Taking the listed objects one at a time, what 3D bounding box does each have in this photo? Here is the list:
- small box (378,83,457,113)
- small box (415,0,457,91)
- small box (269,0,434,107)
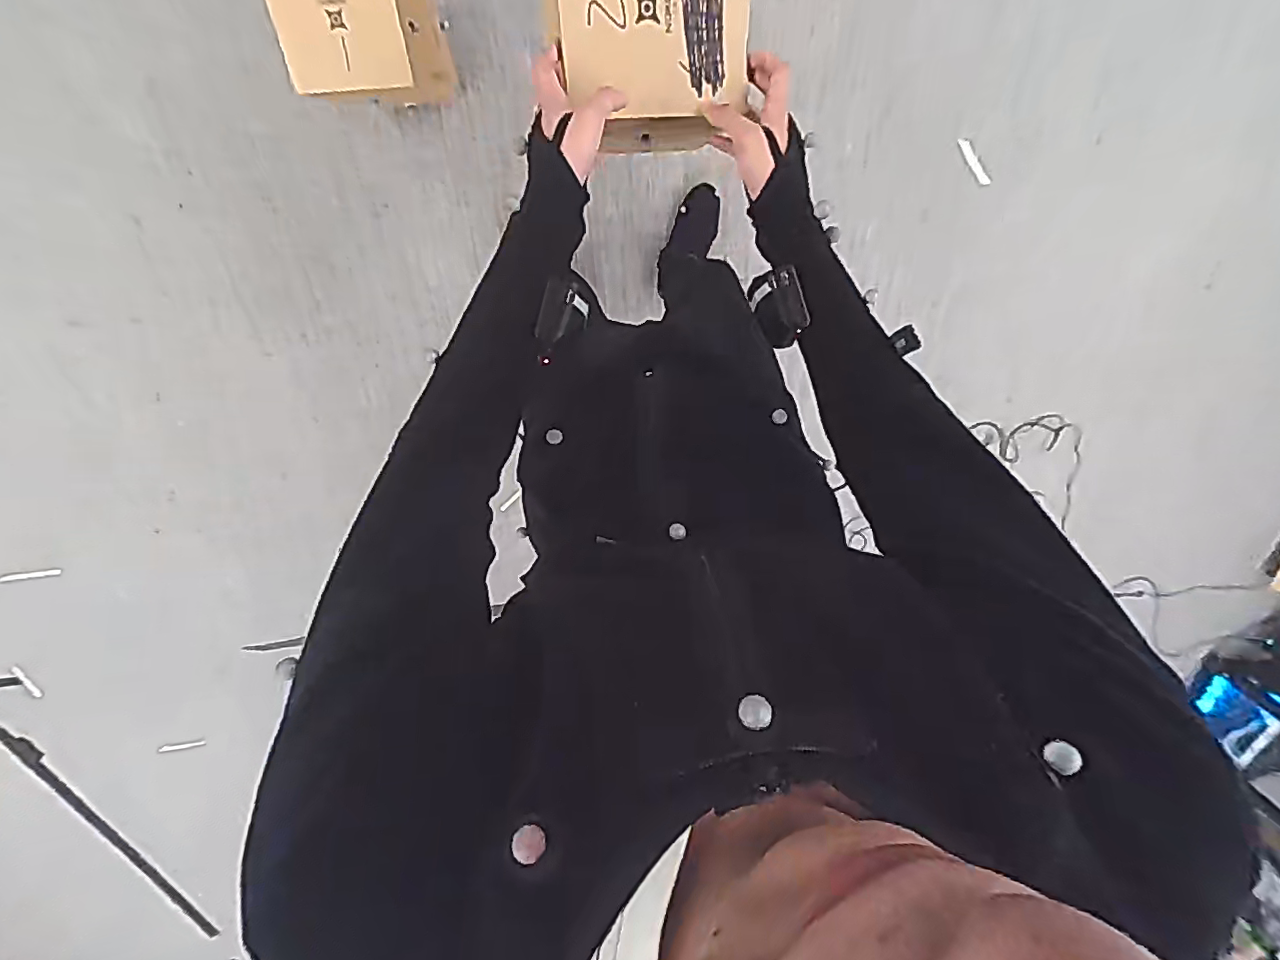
[{"bbox_3d":[-0.470,-0.841,1.061,0.168,0.176,0.179,-10,121,-5],"label":"small box"},{"bbox_3d":[-0.430,-0.766,0.920,0.179,0.176,0.168,-11,121,-4],"label":"small box"},{"bbox_3d":[-0.417,-0.662,0.791,0.168,0.176,0.179,-8,122,-5],"label":"small box"}]
